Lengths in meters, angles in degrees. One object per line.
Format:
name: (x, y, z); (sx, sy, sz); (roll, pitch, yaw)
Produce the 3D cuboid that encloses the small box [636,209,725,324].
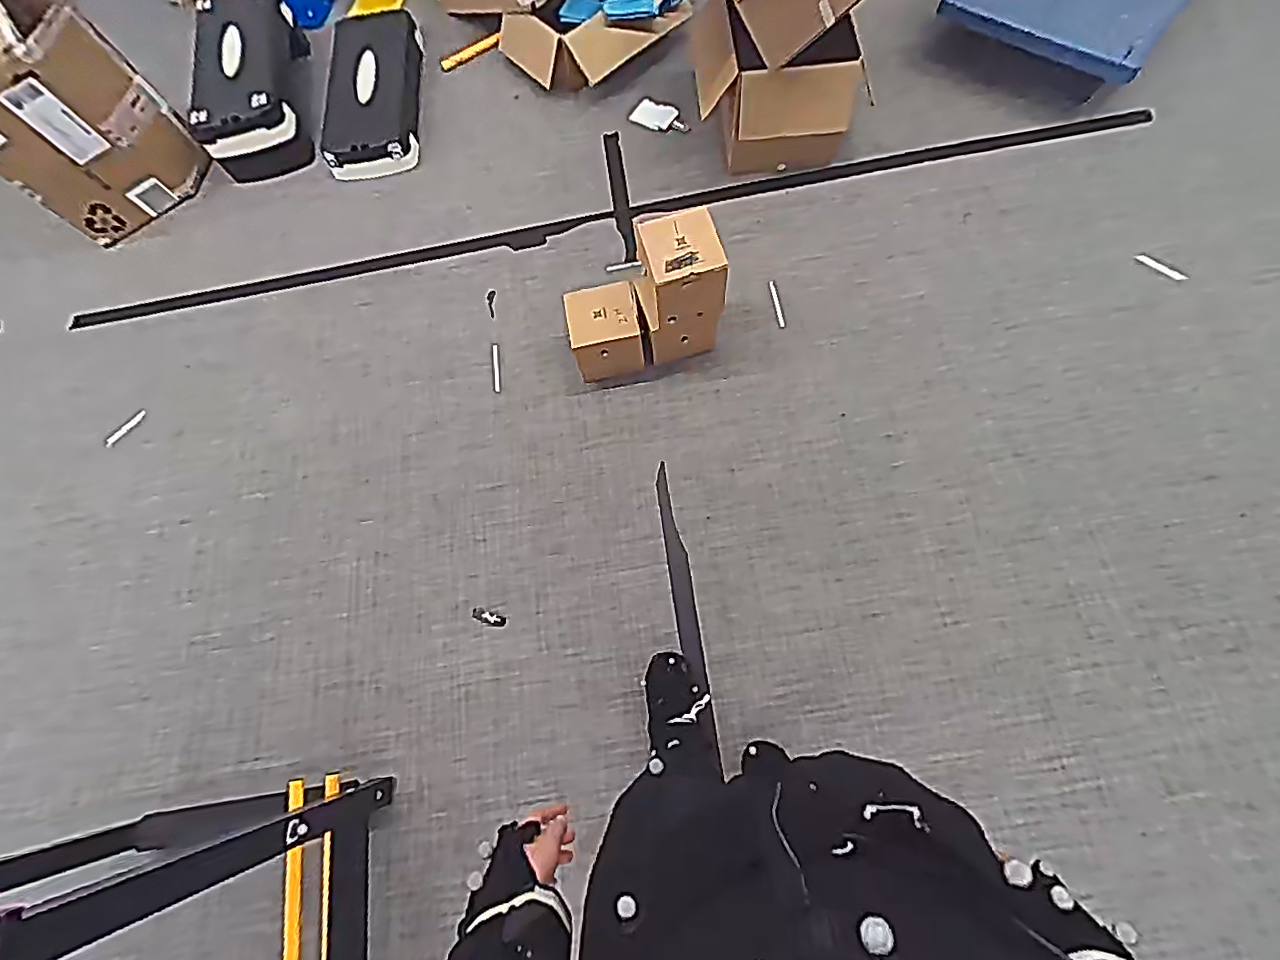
small box: (0.095, -0.488, 1.267); (0.168, 0.176, 0.179); (-15, 70, -1)
